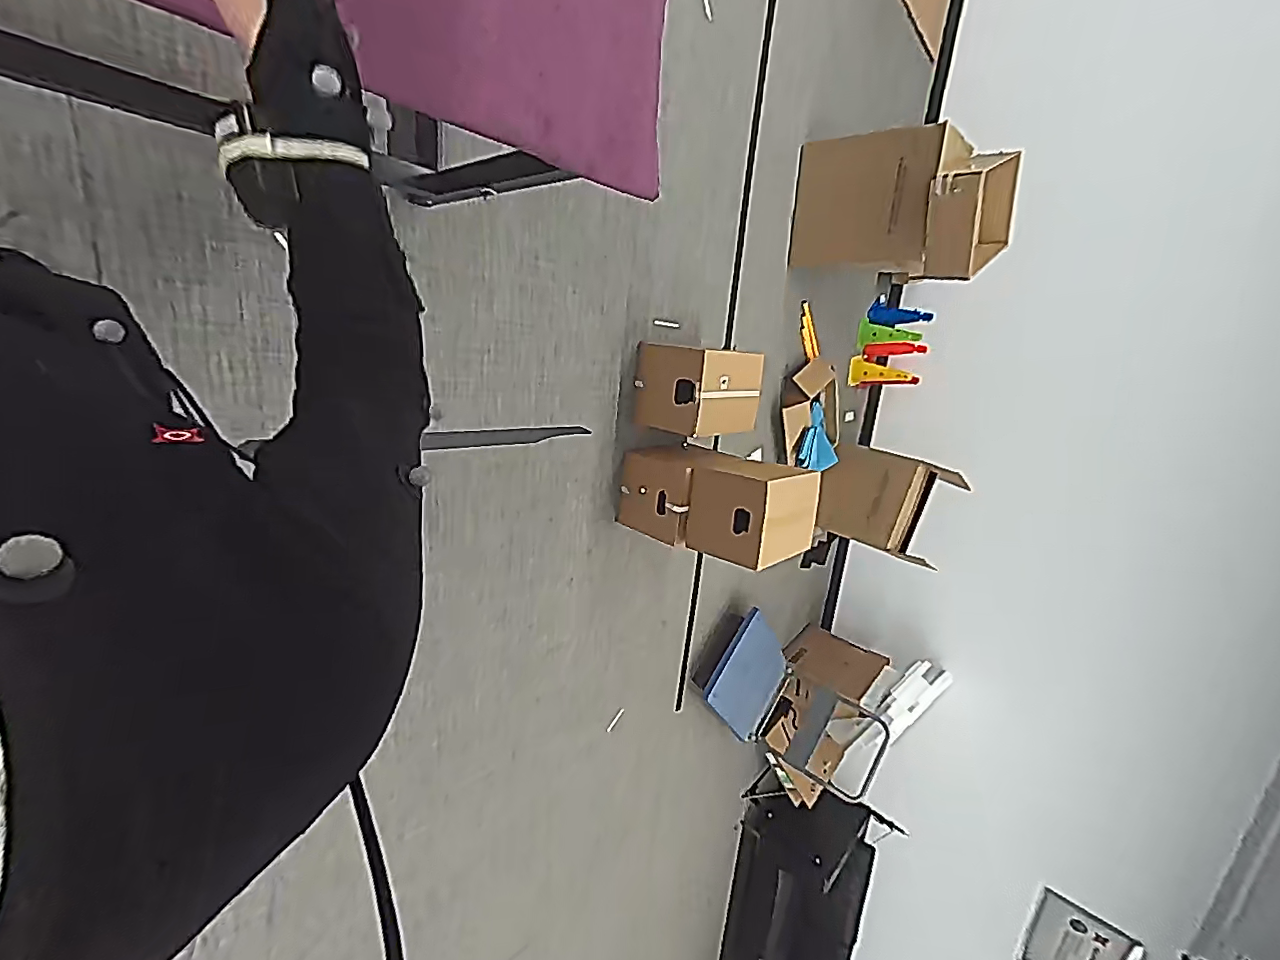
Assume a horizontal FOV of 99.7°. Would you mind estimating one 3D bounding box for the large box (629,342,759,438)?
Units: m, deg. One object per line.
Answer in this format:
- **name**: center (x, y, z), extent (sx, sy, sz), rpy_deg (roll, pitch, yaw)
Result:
- **large box**: center (0.212, -0.363, 2.110), extent (0.408, 0.320, 0.320), rpy_deg (-11, 112, -46)
